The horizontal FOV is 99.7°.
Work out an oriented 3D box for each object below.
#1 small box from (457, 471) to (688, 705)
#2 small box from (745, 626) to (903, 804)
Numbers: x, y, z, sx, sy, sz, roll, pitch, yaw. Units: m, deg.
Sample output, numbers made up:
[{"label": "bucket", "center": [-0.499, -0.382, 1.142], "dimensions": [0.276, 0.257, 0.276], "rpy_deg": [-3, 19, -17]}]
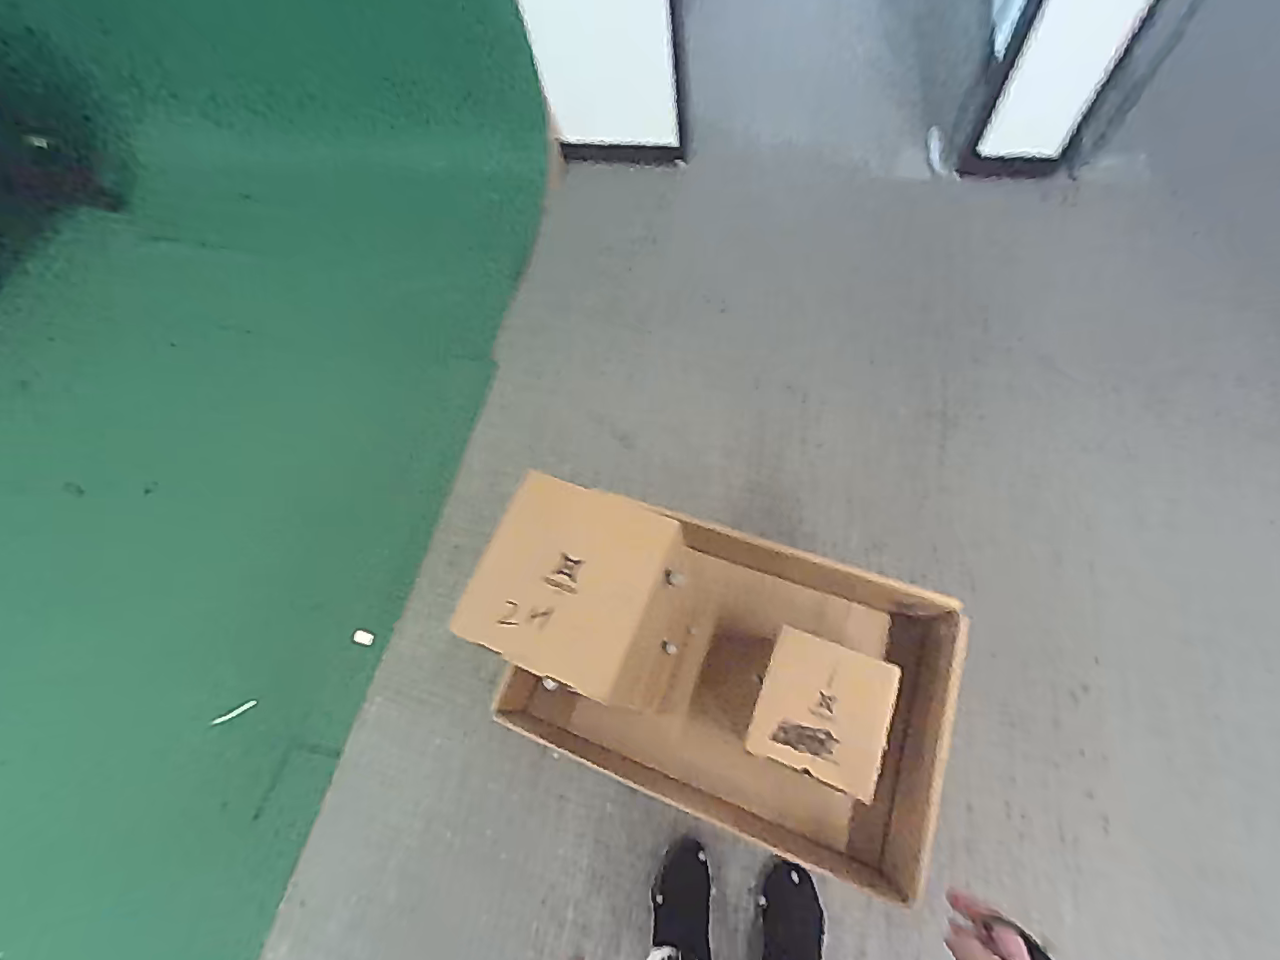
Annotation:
[{"label": "small box", "center": [-0.054, 0.121, 0.579], "dimensions": [0.168, 0.176, 0.179], "rpy_deg": [19, 71, 16]}, {"label": "small box", "center": [0.260, 0.339, 0.796], "dimensions": [0.168, 0.176, 0.179], "rpy_deg": [19, 70, 16]}]
